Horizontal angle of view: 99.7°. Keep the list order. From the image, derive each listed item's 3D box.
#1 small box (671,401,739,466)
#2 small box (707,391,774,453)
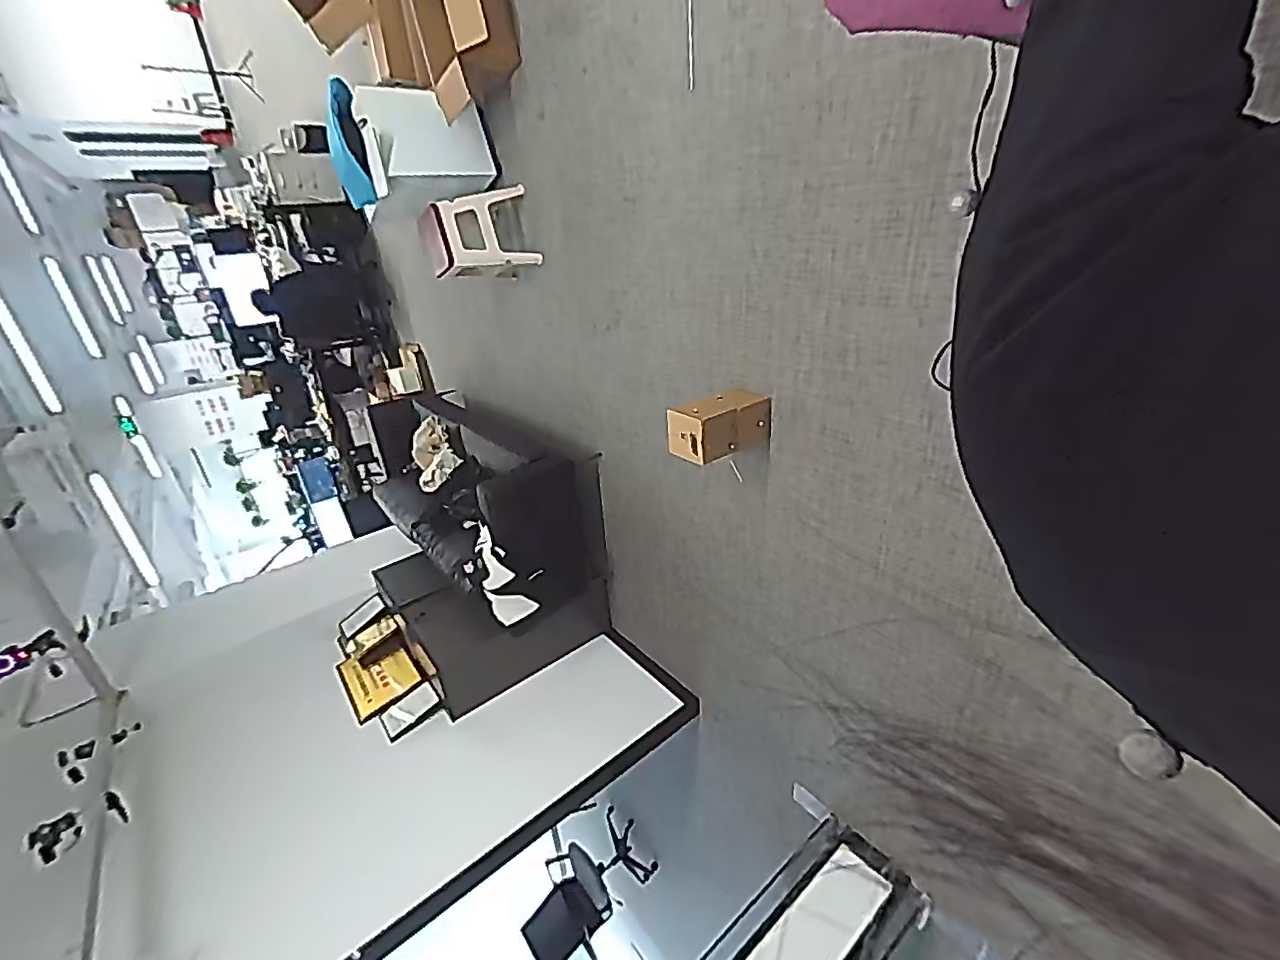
[{"bbox_3d":[0.231,-0.169,1.885,0.179,0.176,0.168,26,129,47],"label":"small box"},{"bbox_3d":[0.363,-0.219,1.969,0.179,0.176,0.168,26,130,45],"label":"small box"}]
